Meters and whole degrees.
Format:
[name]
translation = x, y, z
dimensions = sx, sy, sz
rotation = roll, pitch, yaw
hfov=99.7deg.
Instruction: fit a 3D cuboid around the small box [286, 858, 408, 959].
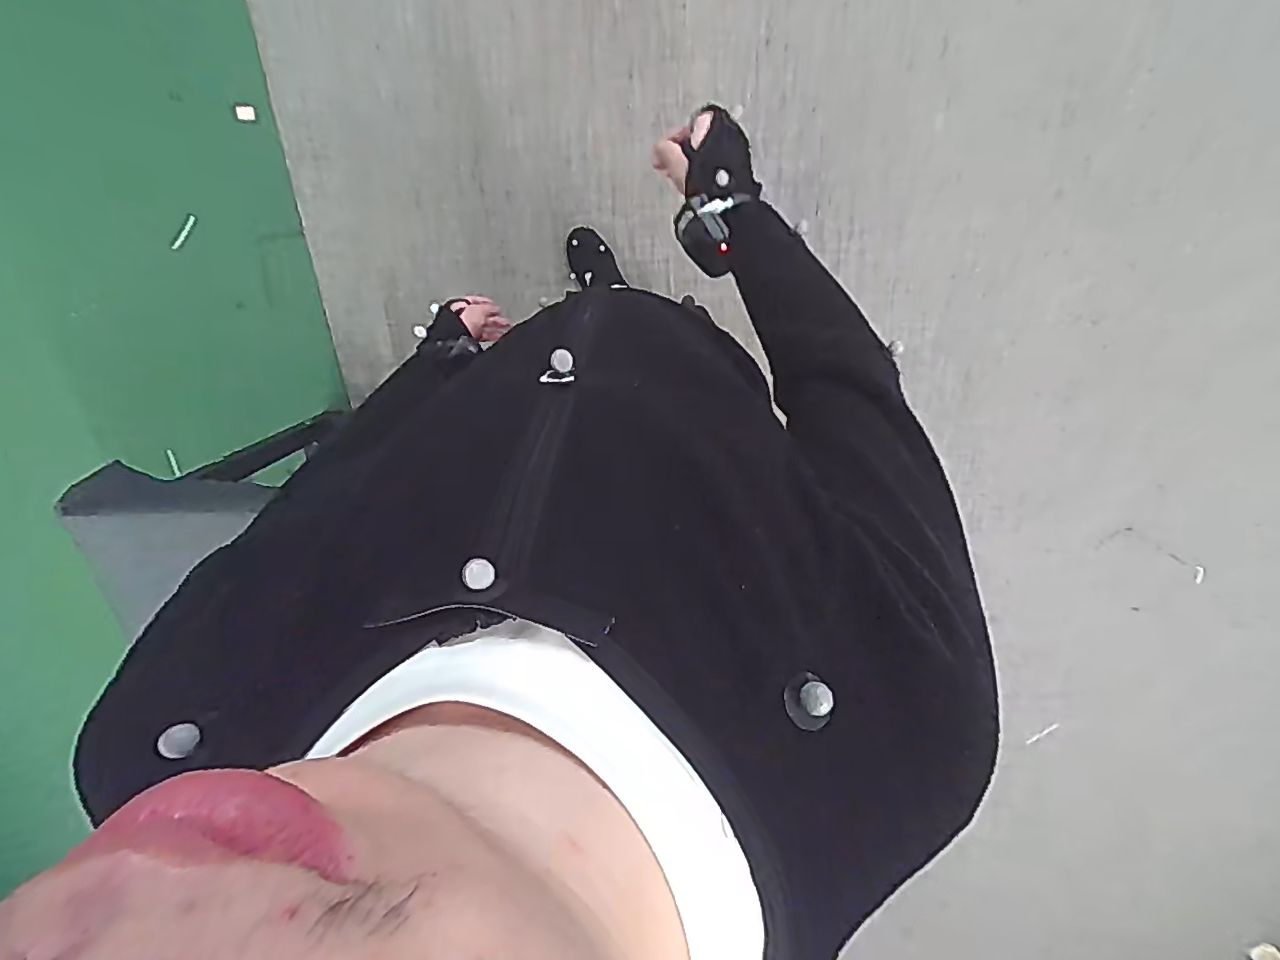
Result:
[small box]
translation = -0.665, 1.011, 1.250
dimensions = 0.168, 0.176, 0.179
rotation = -2, 112, 5
